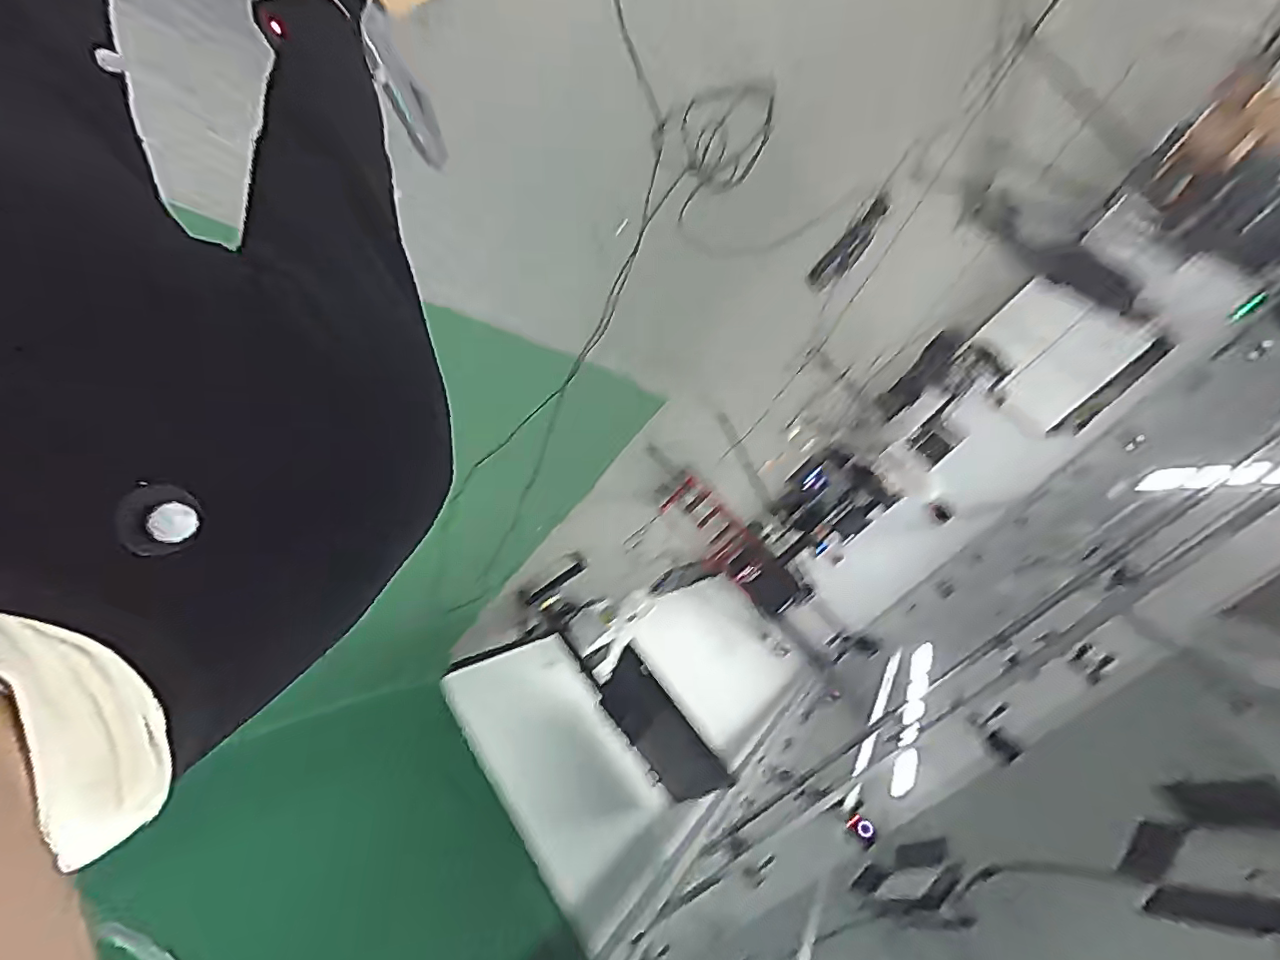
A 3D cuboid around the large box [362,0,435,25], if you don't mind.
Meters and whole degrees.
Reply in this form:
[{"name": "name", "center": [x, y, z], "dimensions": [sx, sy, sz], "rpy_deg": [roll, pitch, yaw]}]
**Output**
[{"name": "large box", "center": [-0.373, -1.021, 0.824], "dimensions": [0.408, 0.320, 0.320], "rpy_deg": [-39, 158, -7]}]
